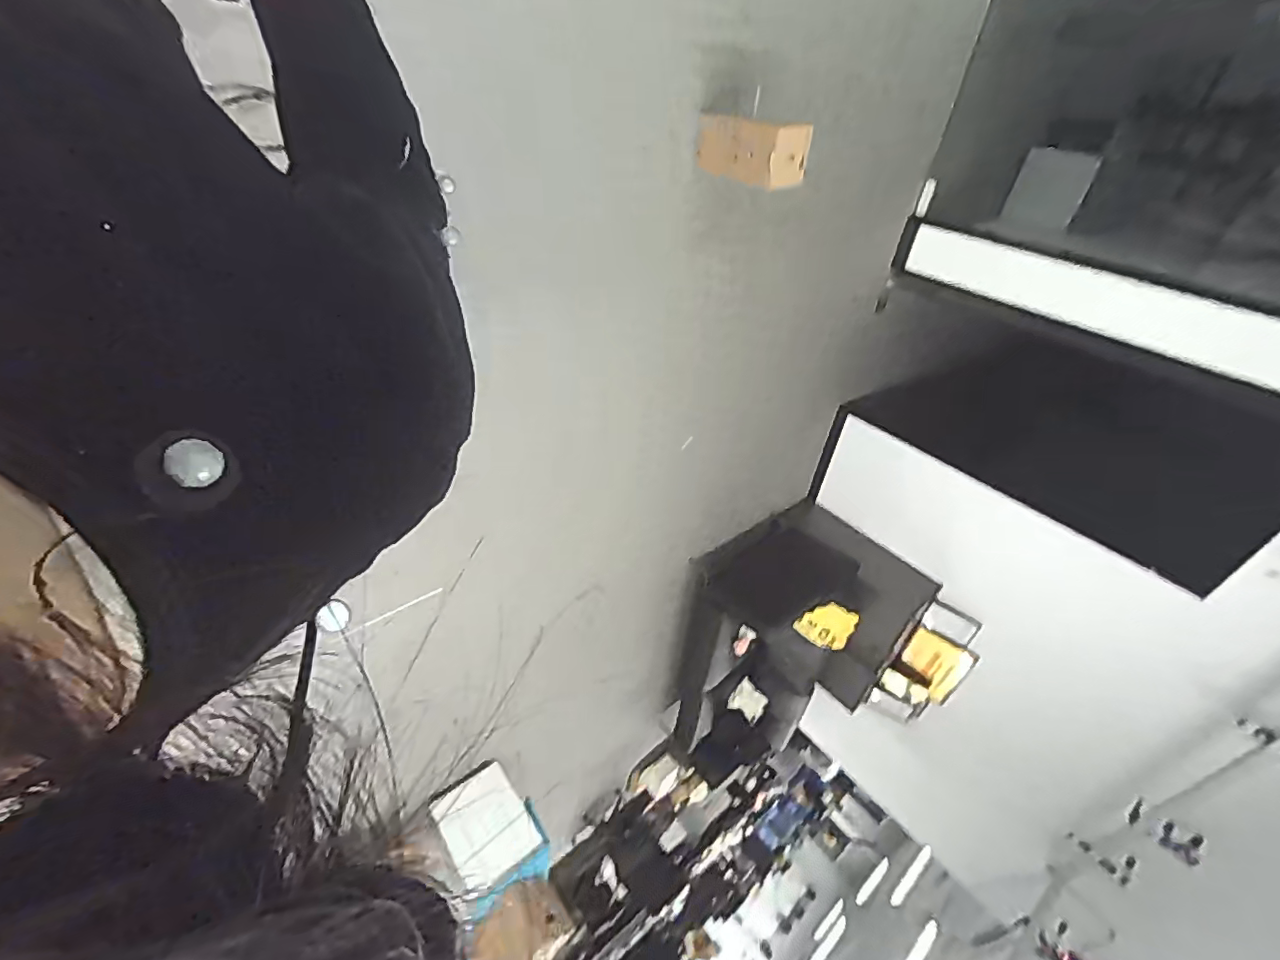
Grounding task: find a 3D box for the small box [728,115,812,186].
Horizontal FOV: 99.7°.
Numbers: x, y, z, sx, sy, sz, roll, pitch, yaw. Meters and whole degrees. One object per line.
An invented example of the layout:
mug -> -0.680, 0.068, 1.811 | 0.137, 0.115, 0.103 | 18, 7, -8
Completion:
small box -> 0.400, -1.034, 1.693 | 0.179, 0.176, 0.168 | -26, 139, -31
